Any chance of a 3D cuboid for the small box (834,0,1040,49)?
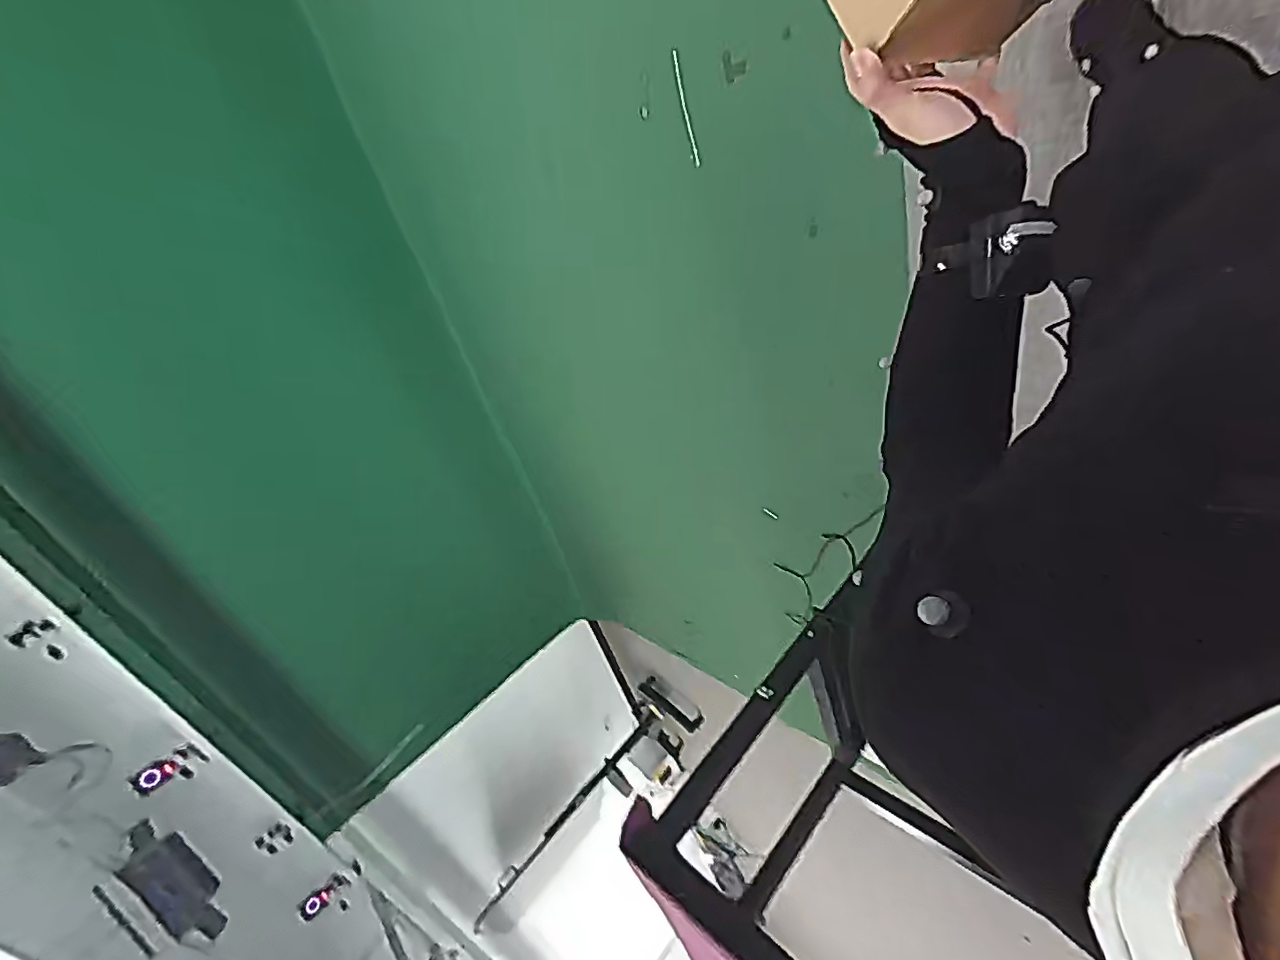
[{"bbox_3d":[0.231,-0.444,0.372,0.179,0.176,0.168,65,157,5],"label":"small box"}]
